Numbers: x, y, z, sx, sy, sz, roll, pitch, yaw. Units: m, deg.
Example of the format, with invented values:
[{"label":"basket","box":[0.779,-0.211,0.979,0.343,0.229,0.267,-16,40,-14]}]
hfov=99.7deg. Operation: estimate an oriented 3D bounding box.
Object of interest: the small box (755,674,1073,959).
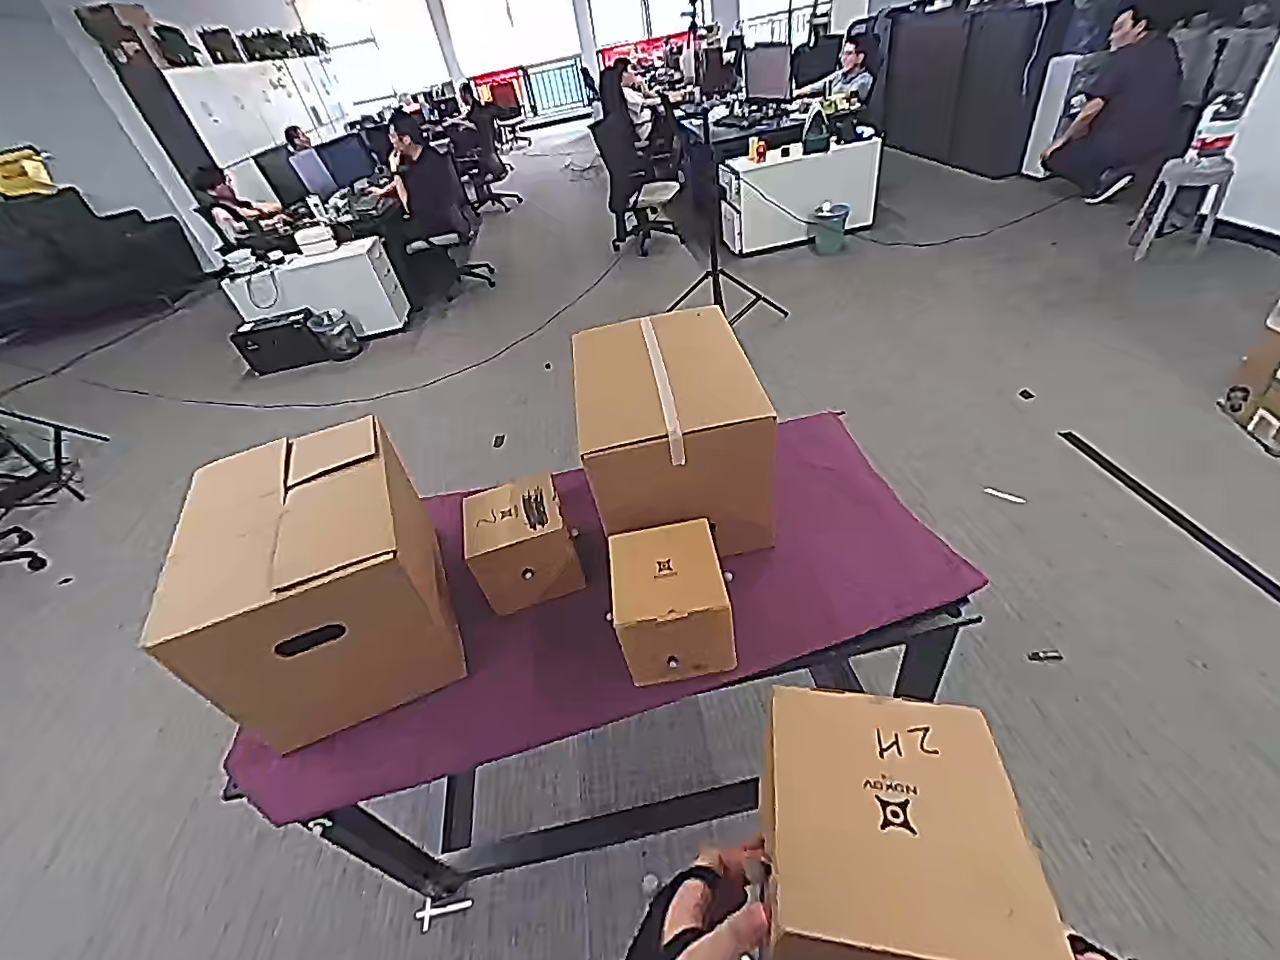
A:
[{"label":"small box","box":[0.181,0.286,0.423,0.168,0.176,0.179,4,33,10]}]
